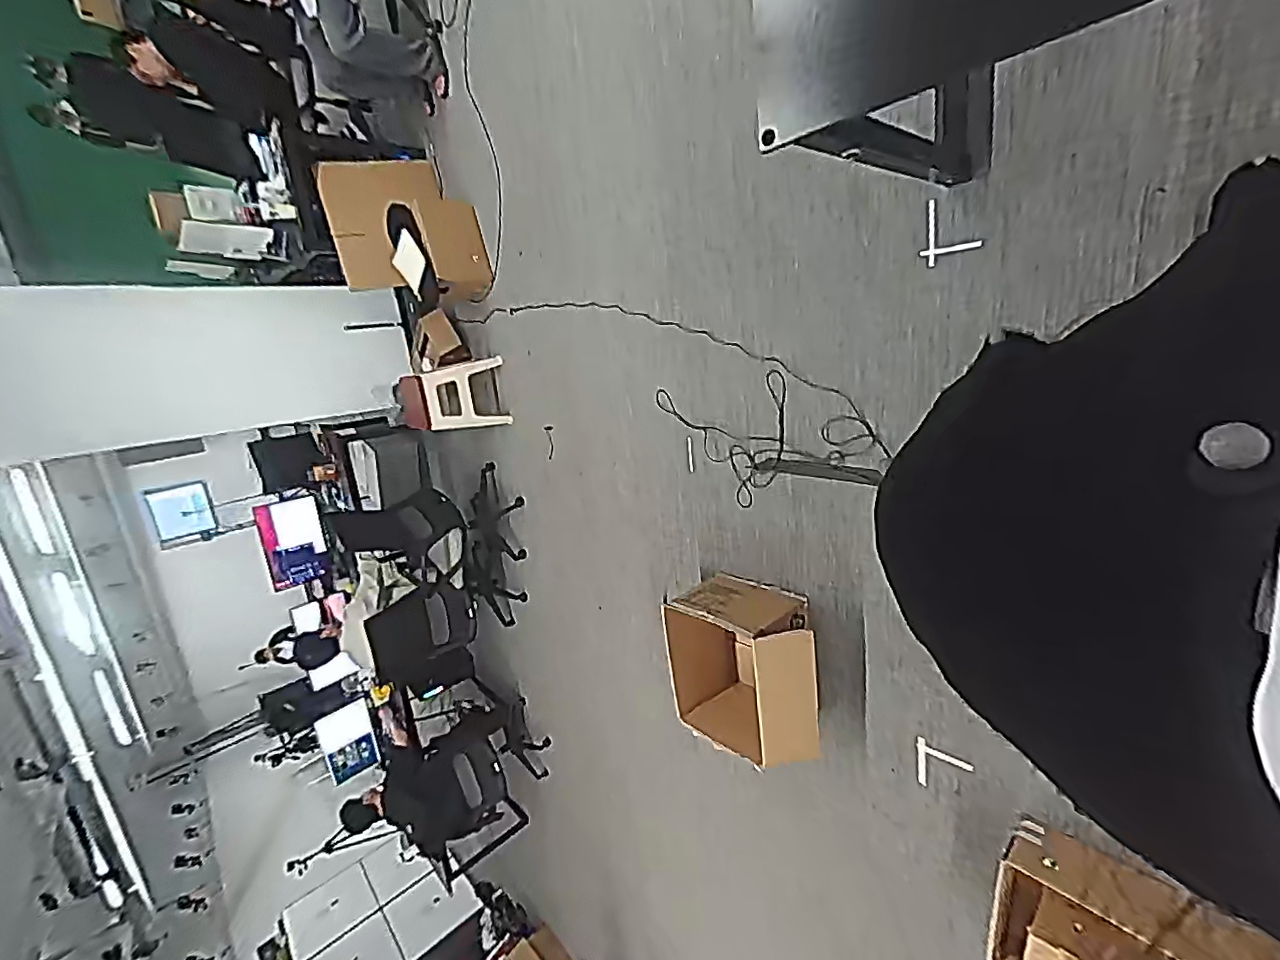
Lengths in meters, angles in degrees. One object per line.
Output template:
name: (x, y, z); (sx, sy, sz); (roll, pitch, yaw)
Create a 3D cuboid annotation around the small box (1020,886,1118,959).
small box: (1.099, 1.209, 1.388); (0.168, 0.176, 0.179); (15, 114, 45)
